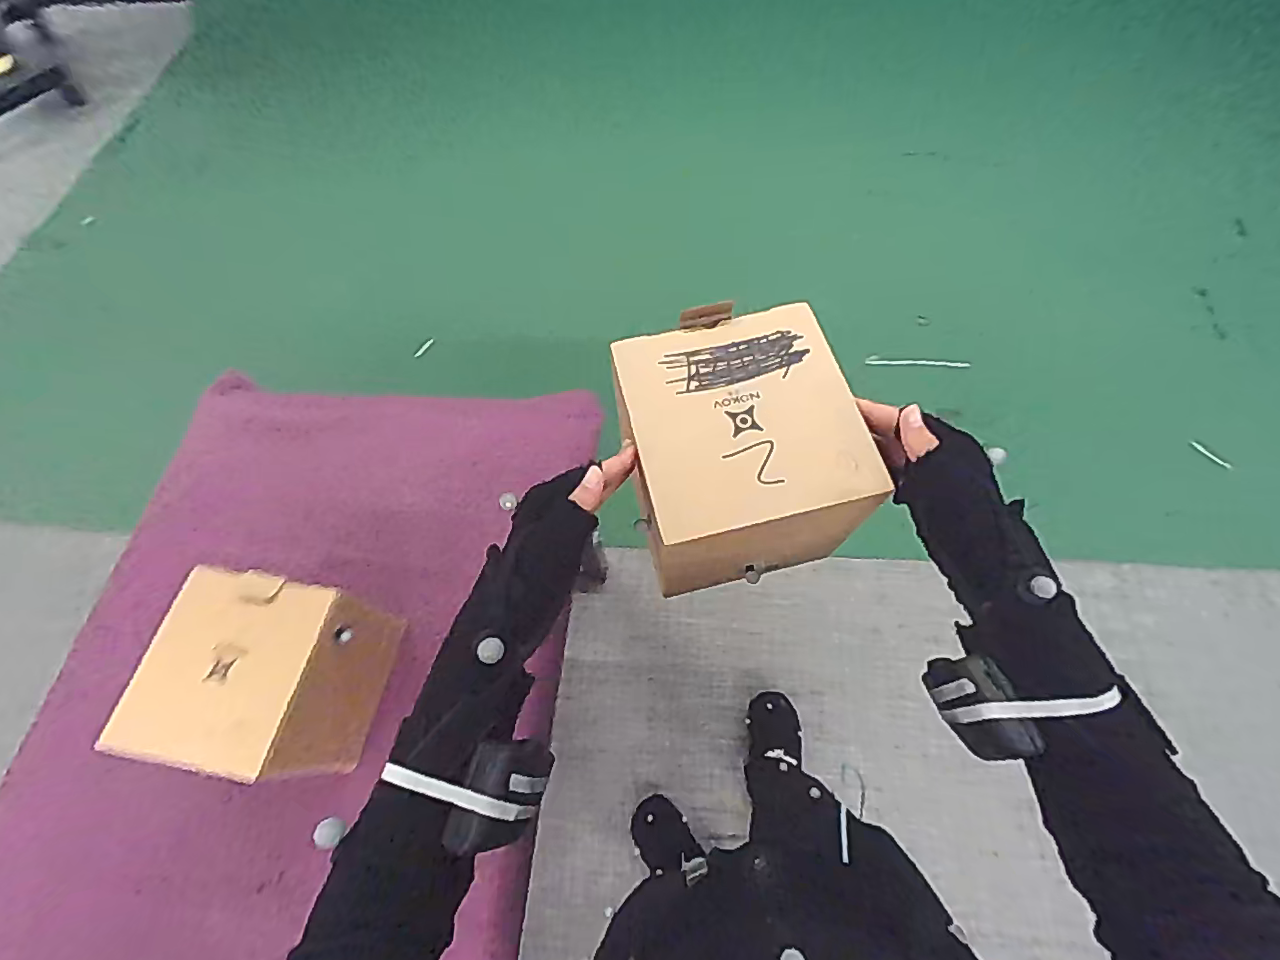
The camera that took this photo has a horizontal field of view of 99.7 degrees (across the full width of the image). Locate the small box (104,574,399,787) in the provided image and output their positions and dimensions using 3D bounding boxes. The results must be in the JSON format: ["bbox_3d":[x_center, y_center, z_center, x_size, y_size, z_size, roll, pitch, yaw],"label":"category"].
[{"bbox_3d":[-0.398,0.221,0.596,0.168,0.176,0.179,7,64,7],"label":"small box"}]
